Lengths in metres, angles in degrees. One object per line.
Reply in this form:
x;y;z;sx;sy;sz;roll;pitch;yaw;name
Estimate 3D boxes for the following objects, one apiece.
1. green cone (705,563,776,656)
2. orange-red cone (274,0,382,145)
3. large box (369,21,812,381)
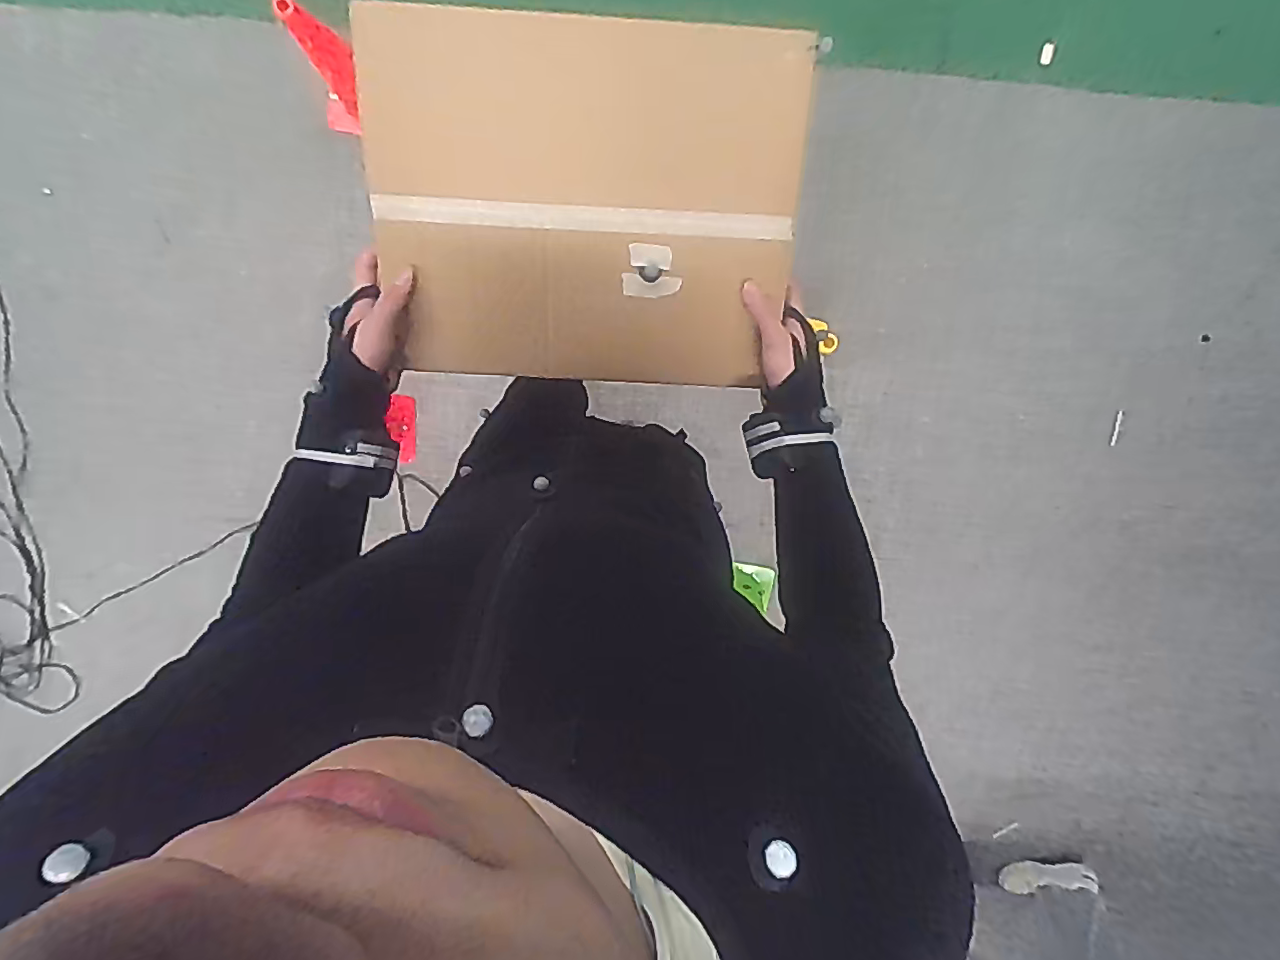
0.317;0.397;1.527;0.200;0.368;0.202;9;100;-3;green cone
-0.707;-0.958;1.241;0.199;0.360;0.198;11;100;-1;orange-red cone
-0.051;-0.307;0.671;0.408;0.320;0.320;2;112;-2;large box
